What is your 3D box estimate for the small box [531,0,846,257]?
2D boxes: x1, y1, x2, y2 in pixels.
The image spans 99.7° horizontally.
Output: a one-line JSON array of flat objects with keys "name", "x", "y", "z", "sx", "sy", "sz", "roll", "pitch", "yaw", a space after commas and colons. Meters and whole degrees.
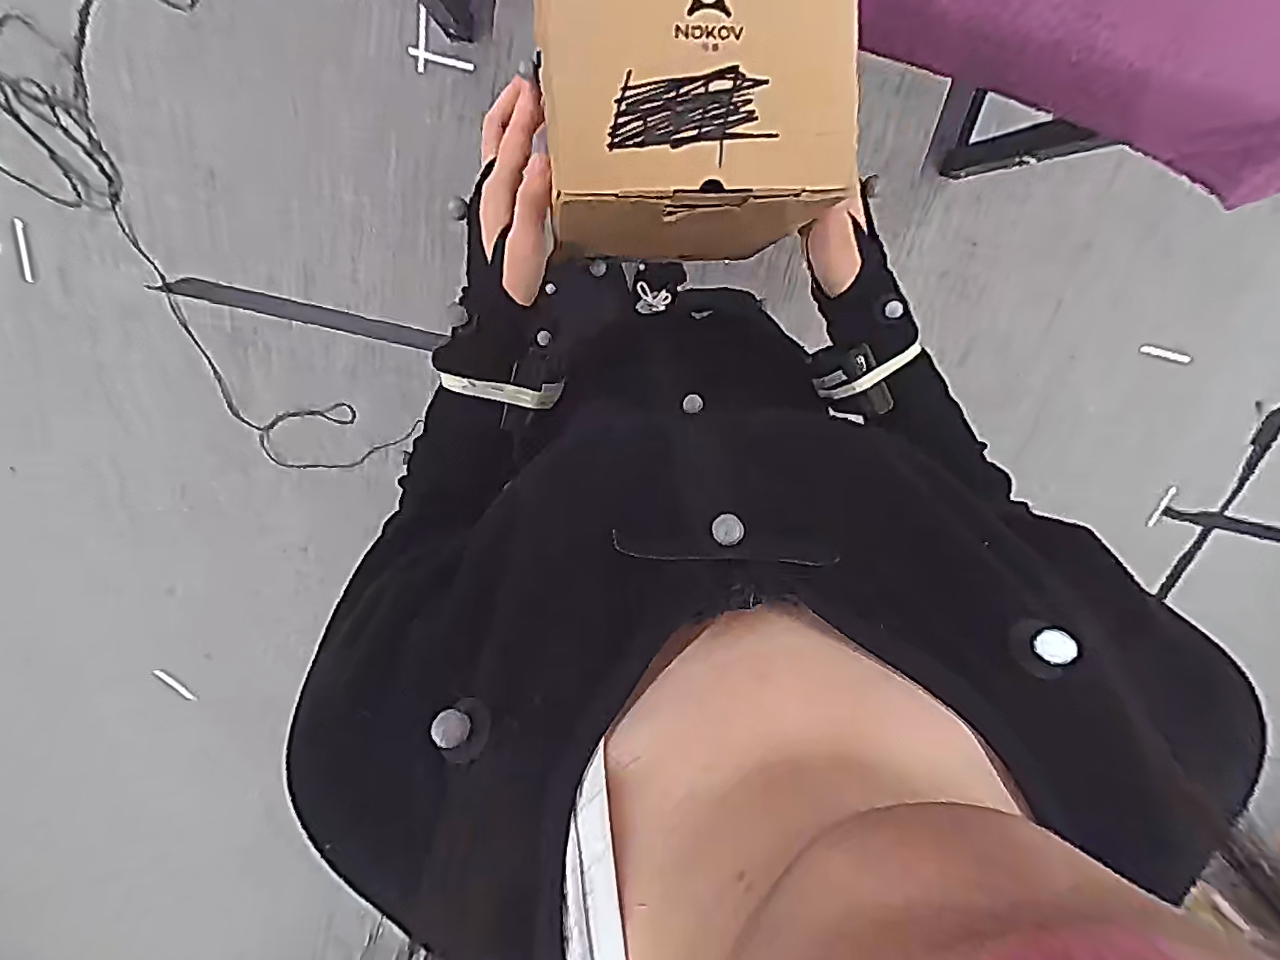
[{"name": "small box", "x": 0.017, "y": -0.253, "z": 0.355, "sx": 0.168, "sy": 0.176, "sz": 0.179, "roll": -5, "pitch": 100, "yaw": -8}]
